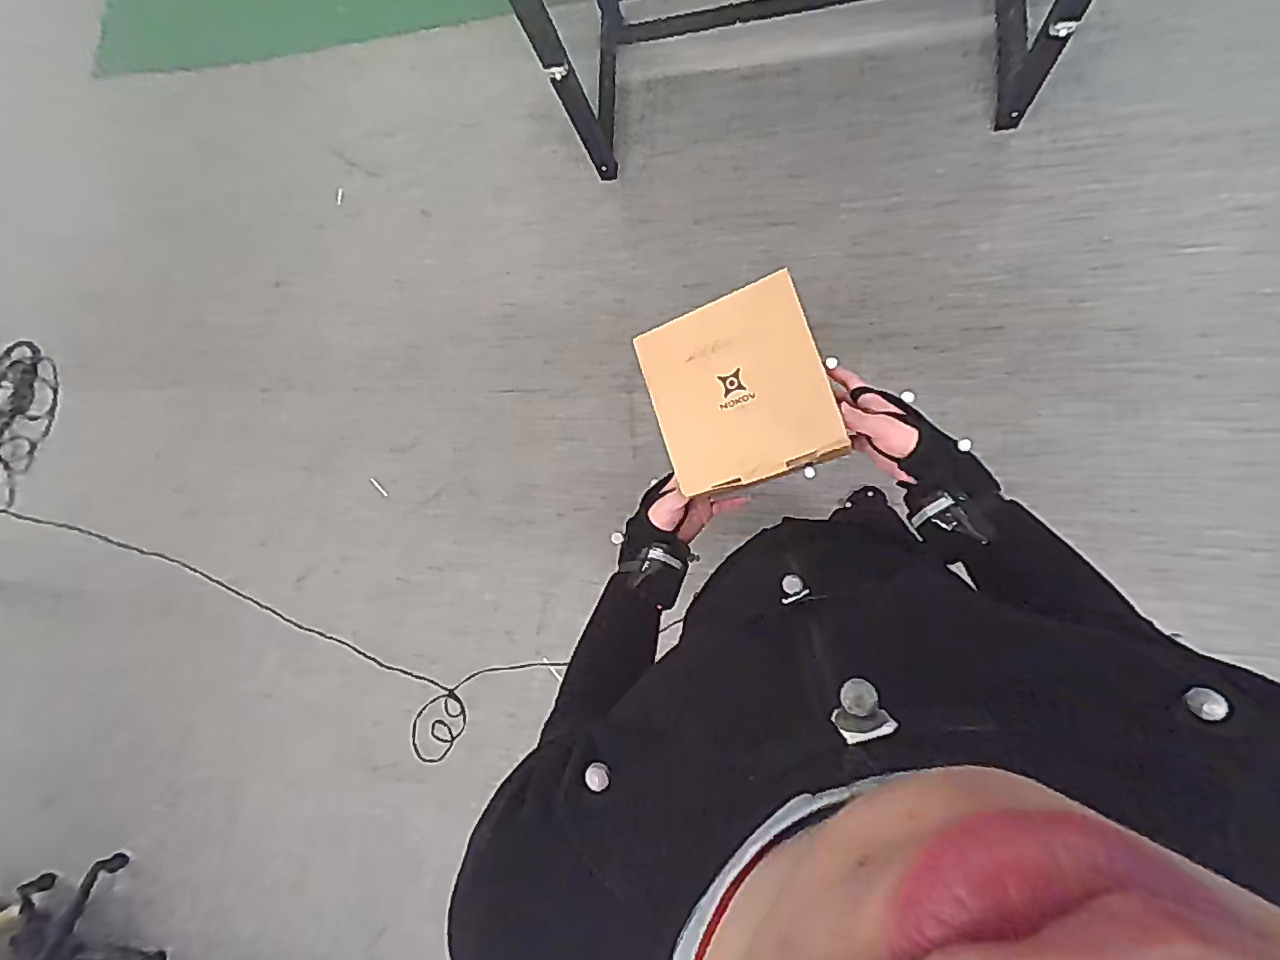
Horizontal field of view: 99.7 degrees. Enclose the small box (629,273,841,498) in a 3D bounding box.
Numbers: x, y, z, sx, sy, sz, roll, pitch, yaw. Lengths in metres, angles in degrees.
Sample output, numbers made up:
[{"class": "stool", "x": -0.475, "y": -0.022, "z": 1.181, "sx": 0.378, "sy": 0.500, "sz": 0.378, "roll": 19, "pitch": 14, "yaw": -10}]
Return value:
[{"class": "small box", "x": 0.113, "y": -0.088, "z": 0.592, "sx": 0.168, "sy": 0.176, "sz": 0.179, "roll": -19, "pitch": 82, "yaw": 20}]
